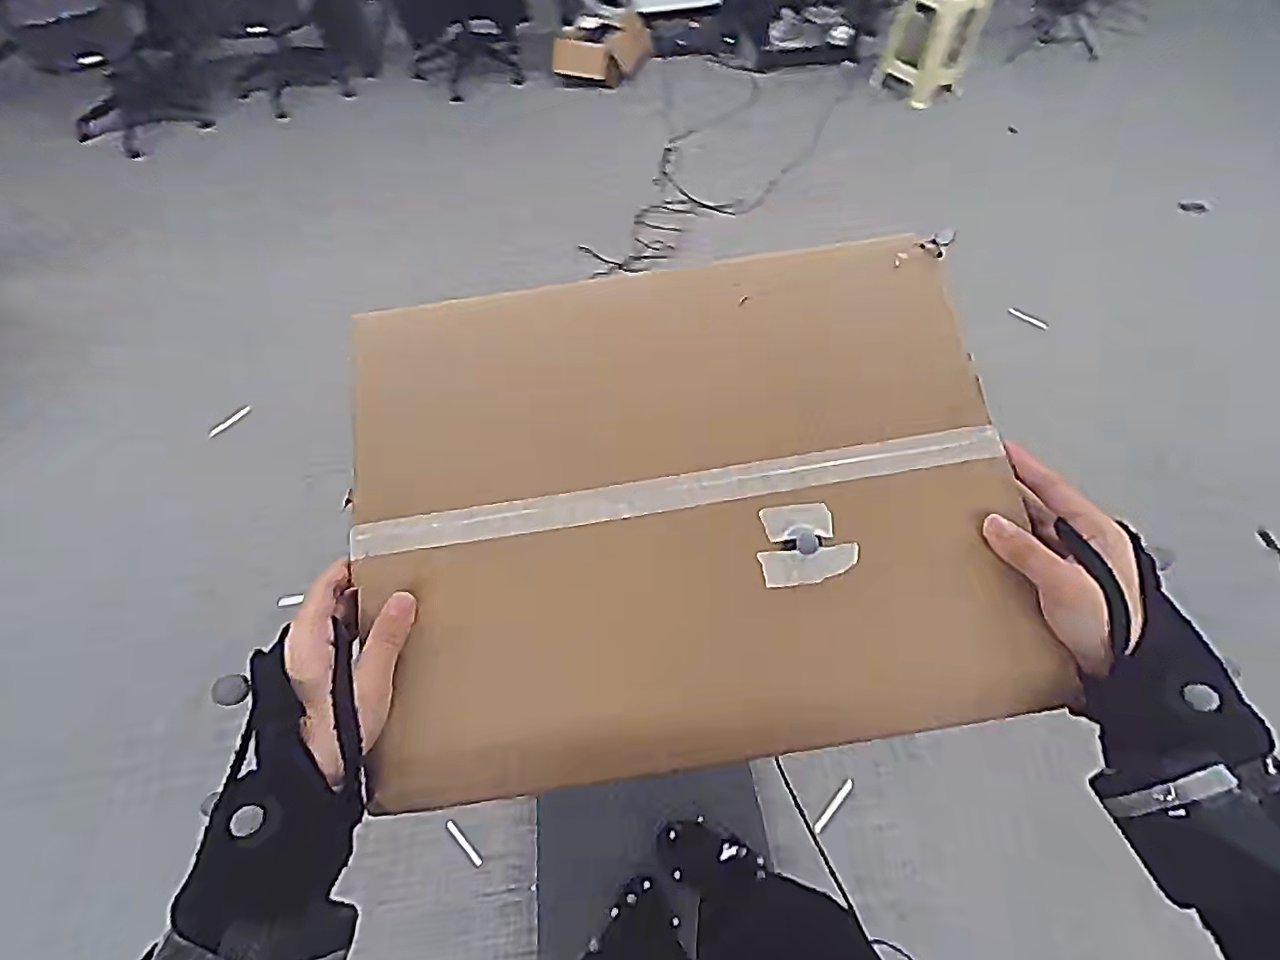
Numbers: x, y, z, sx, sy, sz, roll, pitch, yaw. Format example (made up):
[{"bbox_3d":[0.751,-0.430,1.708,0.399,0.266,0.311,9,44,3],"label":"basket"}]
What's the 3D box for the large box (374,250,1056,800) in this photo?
[{"bbox_3d":[0.030,0.046,0.494,0.408,0.320,0.320,-8,77,-1],"label":"large box"}]
